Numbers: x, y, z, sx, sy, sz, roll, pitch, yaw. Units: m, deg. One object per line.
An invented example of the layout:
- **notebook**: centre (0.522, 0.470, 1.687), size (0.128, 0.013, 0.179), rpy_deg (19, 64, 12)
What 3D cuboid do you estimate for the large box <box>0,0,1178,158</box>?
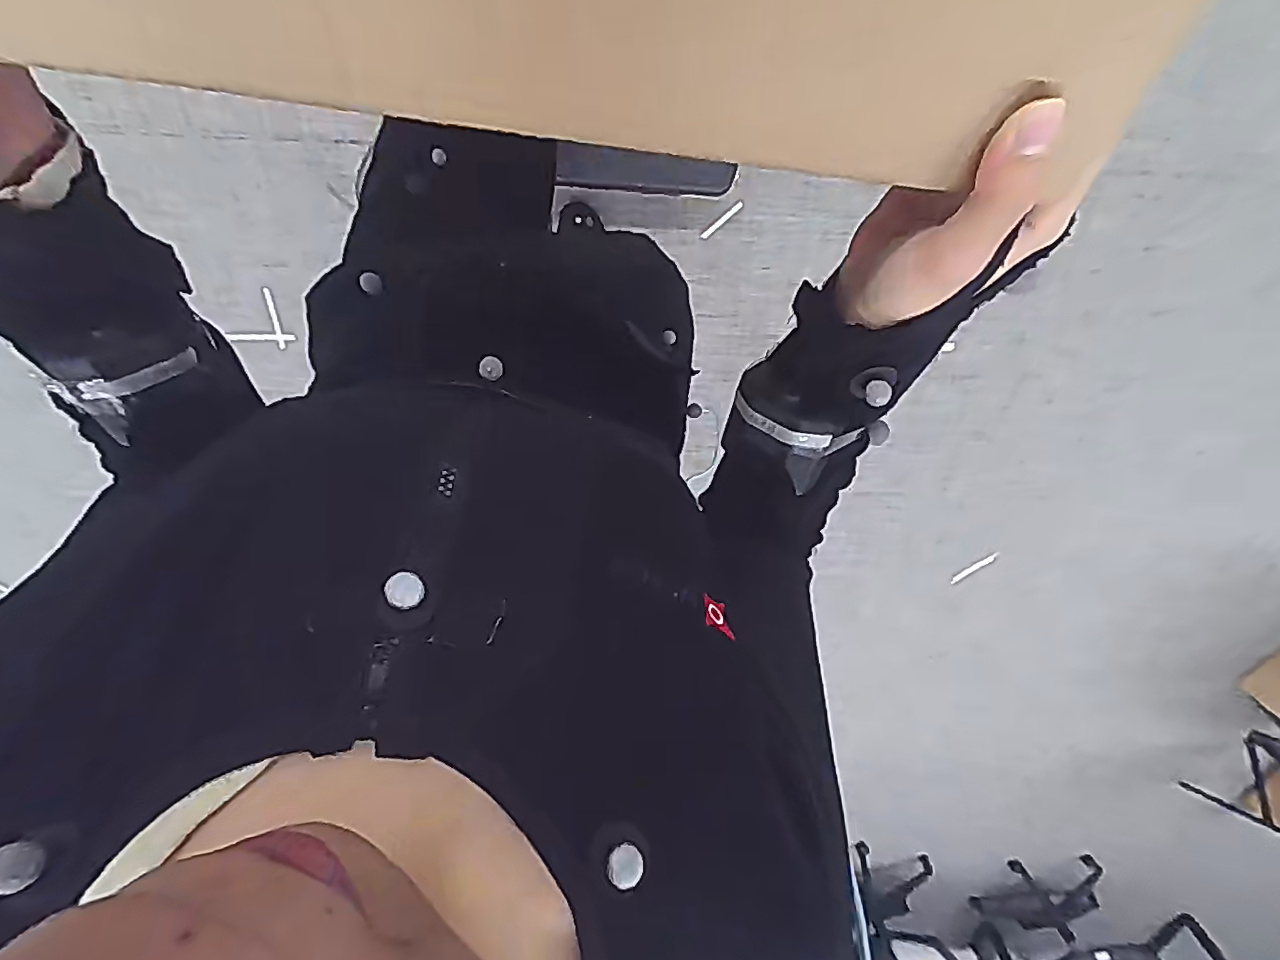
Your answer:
- **large box**: centre (-0.030, -0.335, 0.142), size (0.408, 0.320, 0.320), rpy_deg (4, 146, -6)
